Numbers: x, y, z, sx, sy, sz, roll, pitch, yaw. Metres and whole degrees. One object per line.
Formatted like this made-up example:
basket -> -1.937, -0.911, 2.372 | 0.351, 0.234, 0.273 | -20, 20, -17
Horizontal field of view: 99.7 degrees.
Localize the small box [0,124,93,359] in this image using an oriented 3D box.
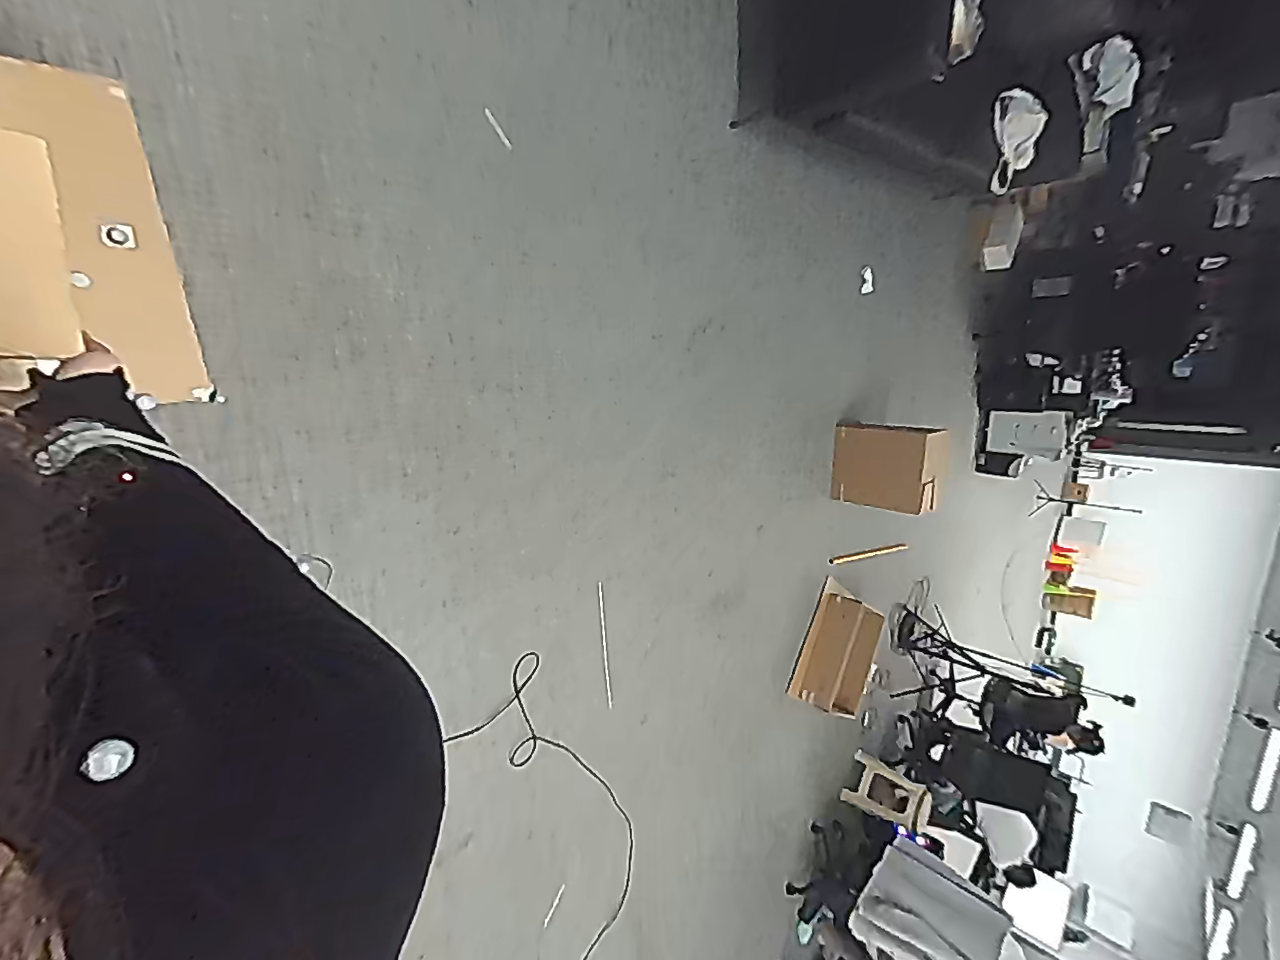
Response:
small box -> -0.582, -0.197, 0.448 | 0.168, 0.176, 0.179 | -12, 110, -44
